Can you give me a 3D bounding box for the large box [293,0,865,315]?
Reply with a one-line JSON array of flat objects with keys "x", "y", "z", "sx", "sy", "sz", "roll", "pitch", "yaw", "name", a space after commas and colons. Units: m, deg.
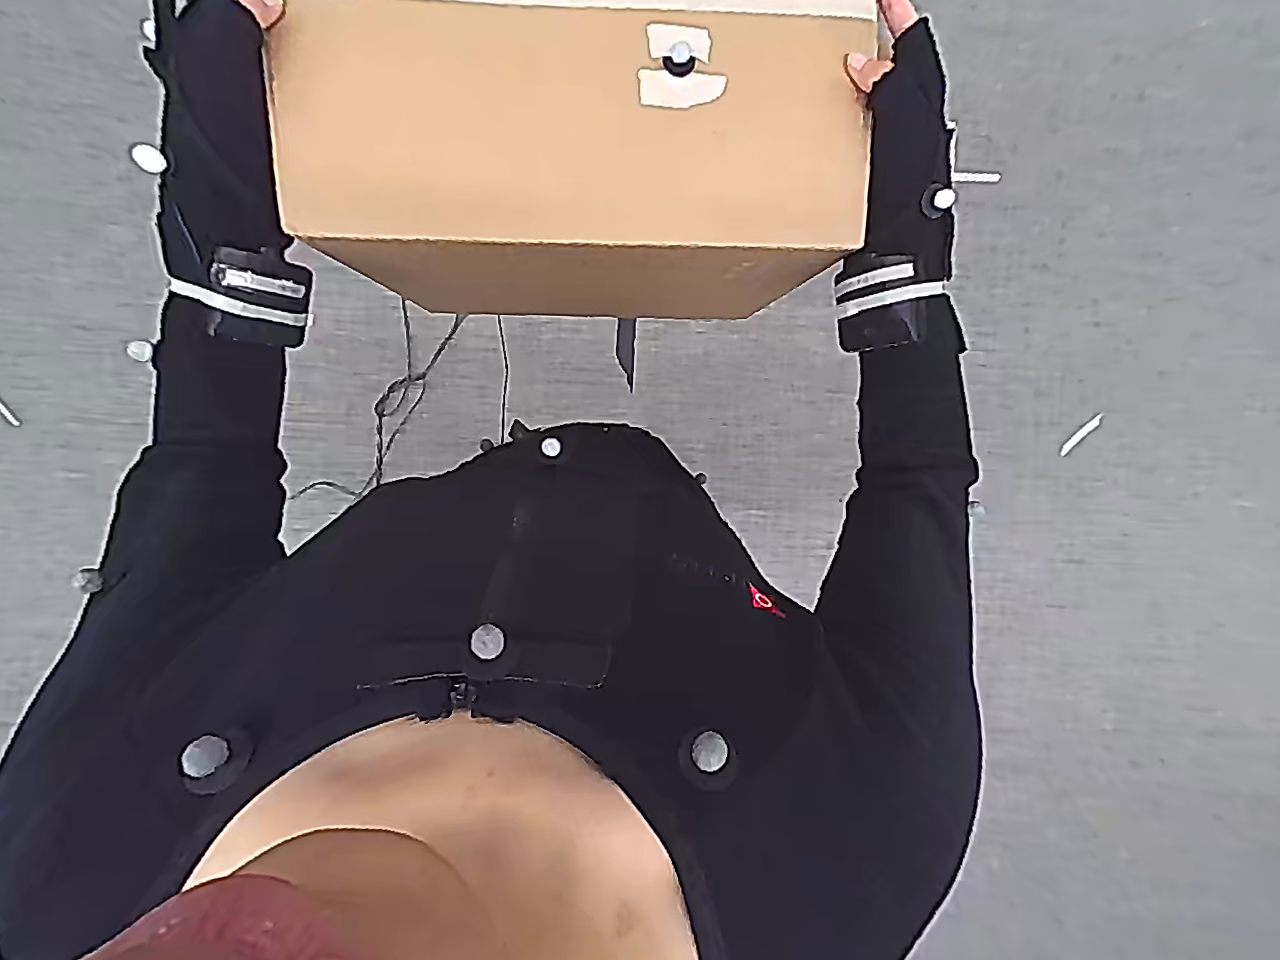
[{"x": -0.048, "y": -0.347, "z": 0.523, "sx": 0.408, "sy": 0.320, "sz": 0.320, "roll": -1, "pitch": 98, "yaw": -4, "name": "large box"}]
